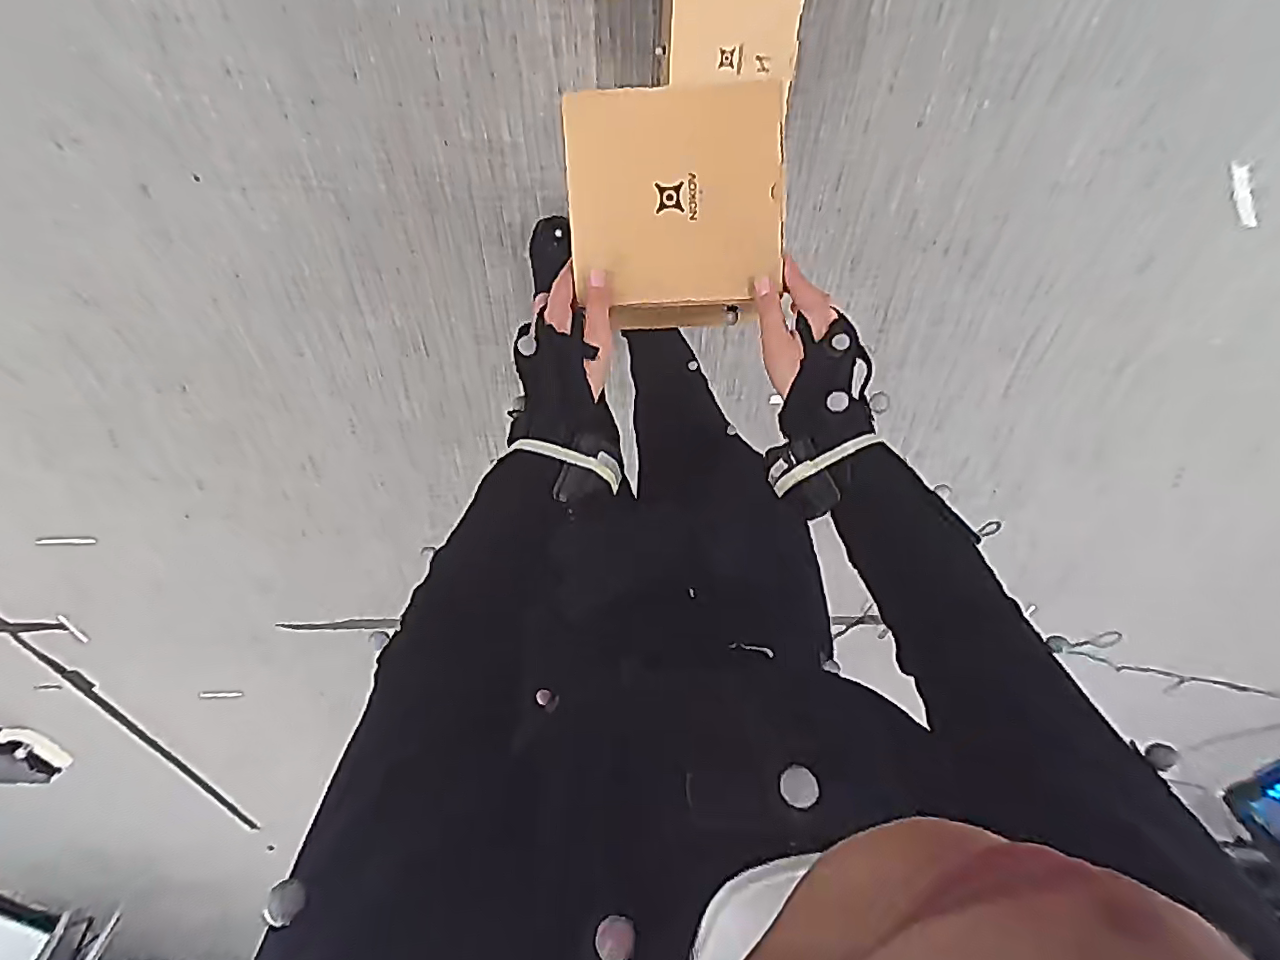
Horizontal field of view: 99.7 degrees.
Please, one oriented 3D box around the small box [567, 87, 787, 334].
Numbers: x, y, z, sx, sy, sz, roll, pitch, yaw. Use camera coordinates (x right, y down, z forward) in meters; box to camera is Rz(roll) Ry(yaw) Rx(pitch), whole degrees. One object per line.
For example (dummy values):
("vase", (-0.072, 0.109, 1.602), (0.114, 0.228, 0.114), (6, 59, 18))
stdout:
("small box", (0.034, -0.235, 0.515), (0.179, 0.176, 0.168), (-2, 99, 1))
